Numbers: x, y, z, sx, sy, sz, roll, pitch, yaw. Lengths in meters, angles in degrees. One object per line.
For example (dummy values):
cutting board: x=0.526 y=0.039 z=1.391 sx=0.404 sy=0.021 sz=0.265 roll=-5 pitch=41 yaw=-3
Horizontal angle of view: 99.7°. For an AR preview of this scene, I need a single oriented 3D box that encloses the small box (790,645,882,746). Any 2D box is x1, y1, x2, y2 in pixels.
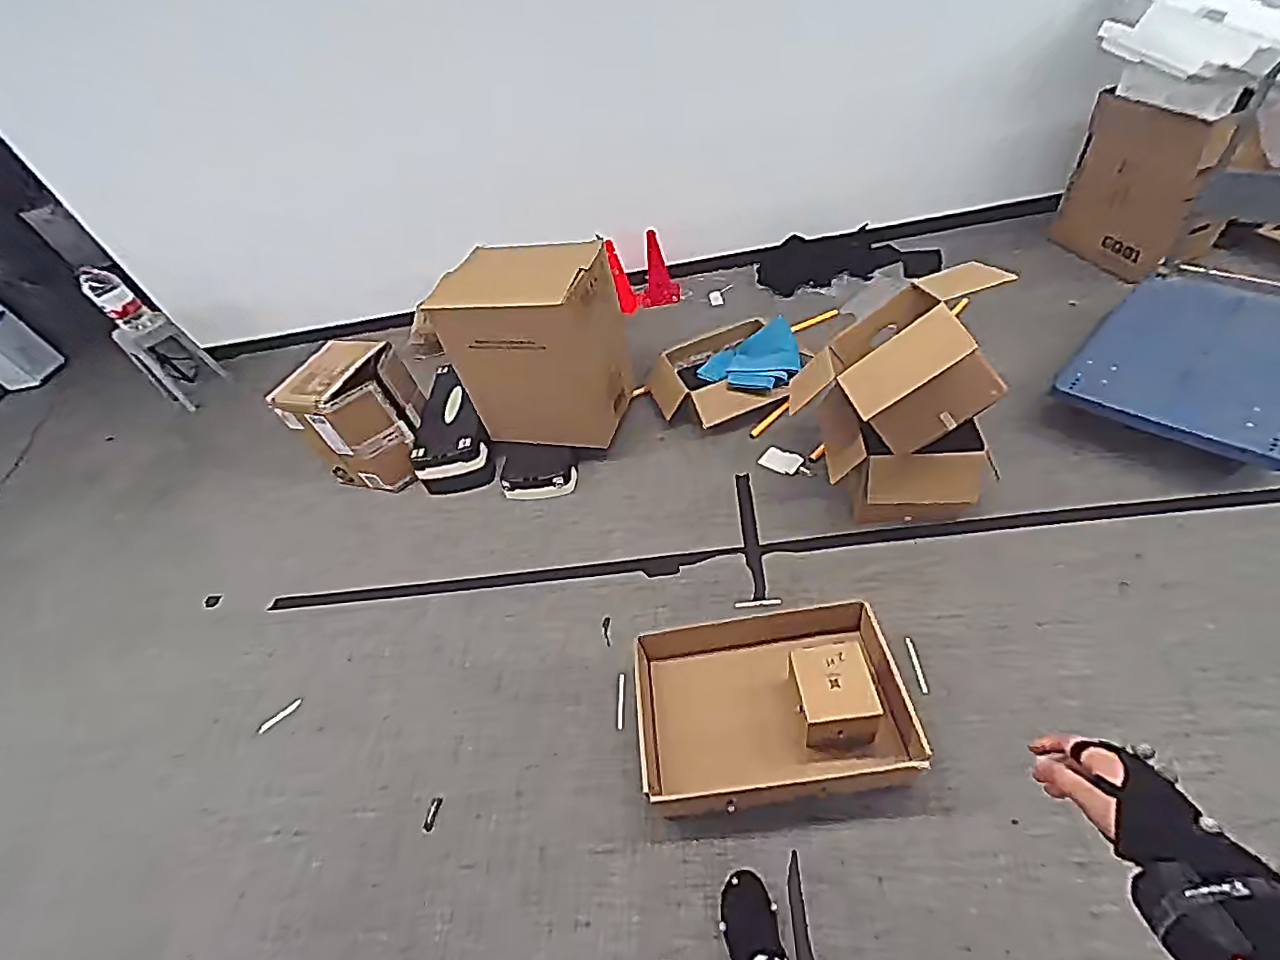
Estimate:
small box: x=0.461 y=0.521 z=1.293 sx=0.168 sy=0.176 sz=0.179 roll=-9 pitch=45 yaw=6
